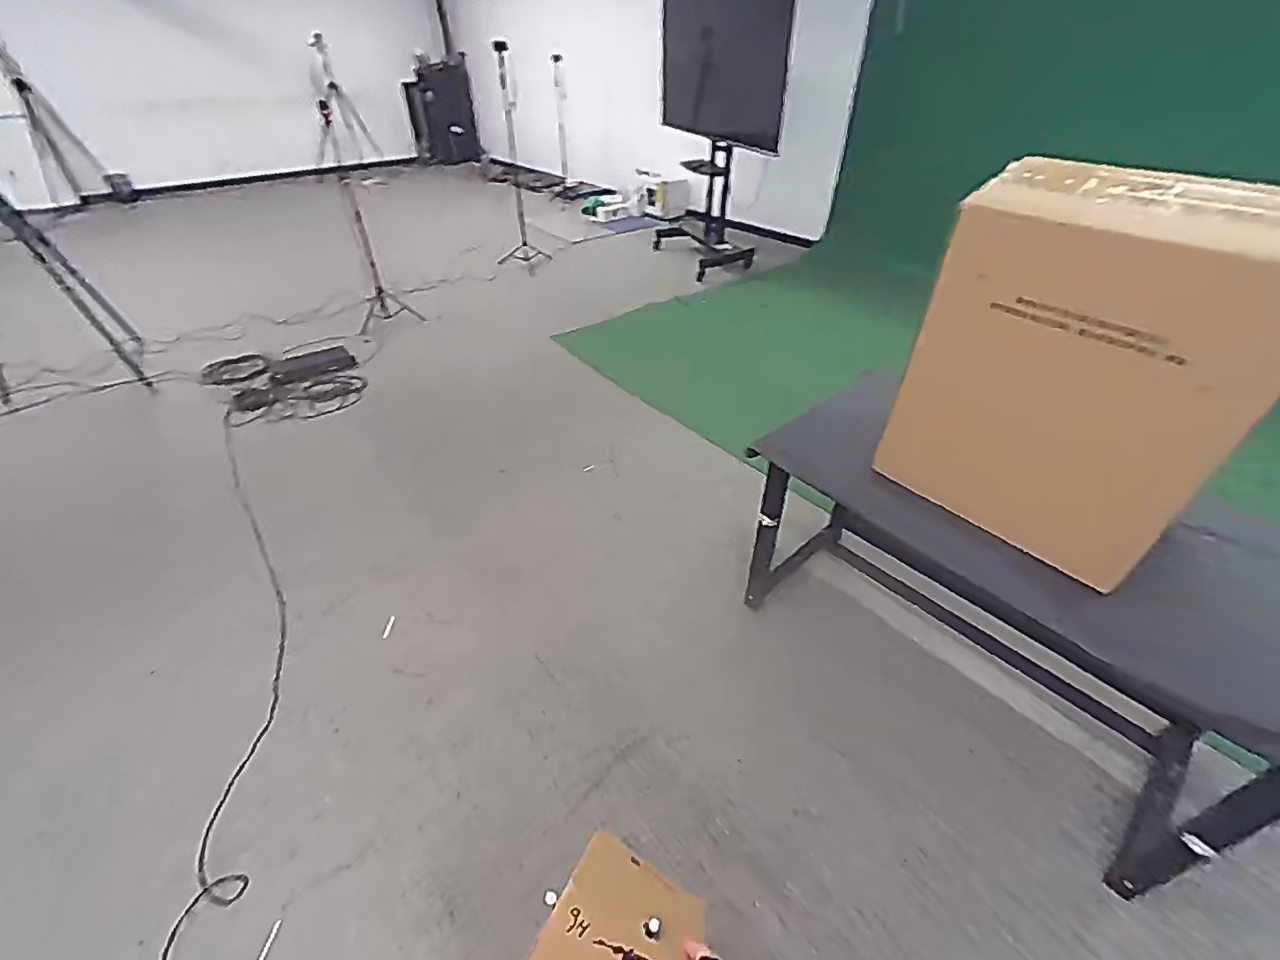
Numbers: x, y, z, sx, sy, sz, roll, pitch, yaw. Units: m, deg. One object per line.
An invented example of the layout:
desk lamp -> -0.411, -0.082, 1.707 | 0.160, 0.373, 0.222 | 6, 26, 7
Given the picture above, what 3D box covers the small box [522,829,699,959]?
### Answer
small box -> -0.039, 0.560, 0.629 | 0.168, 0.176, 0.179 | 29, 81, 14
